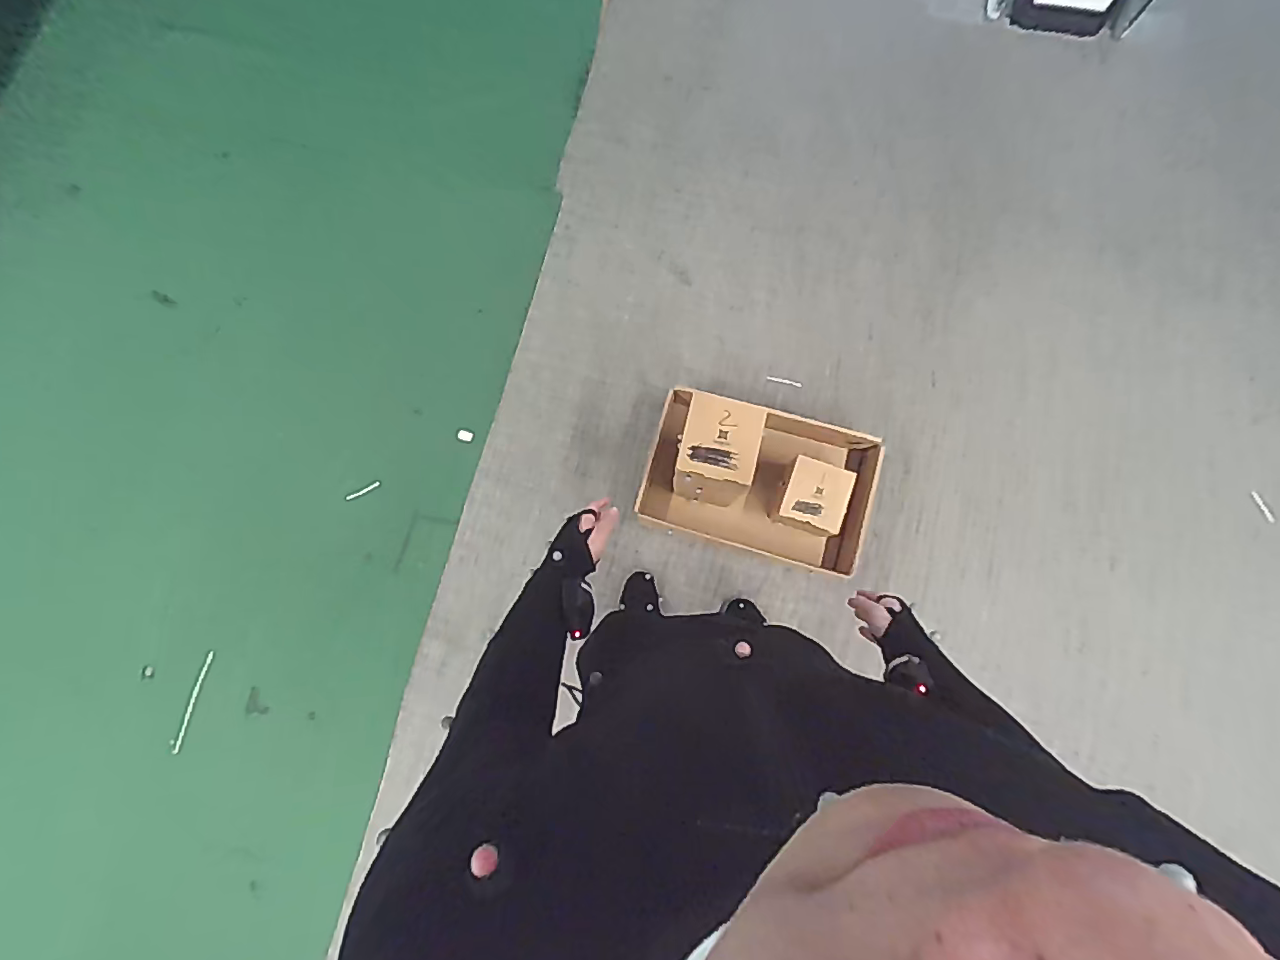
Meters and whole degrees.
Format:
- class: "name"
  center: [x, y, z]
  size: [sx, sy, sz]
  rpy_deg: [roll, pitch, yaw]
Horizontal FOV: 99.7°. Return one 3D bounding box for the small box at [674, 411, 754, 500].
- class: "small box"
  center: [0.184, -0.058, 1.390]
  size: [0.168, 0.176, 0.179]
  rpy_deg: [13, 82, 5]
